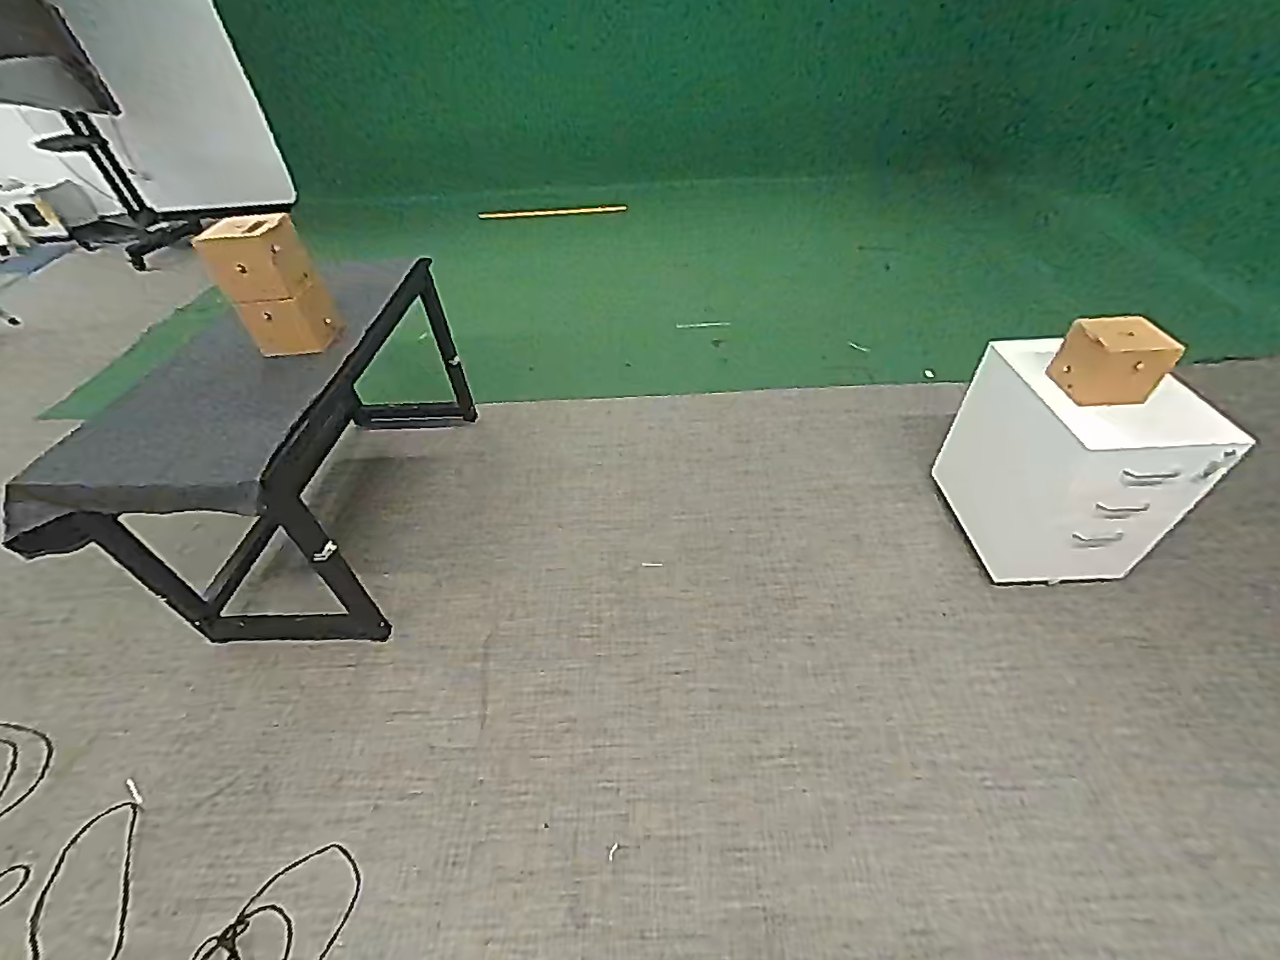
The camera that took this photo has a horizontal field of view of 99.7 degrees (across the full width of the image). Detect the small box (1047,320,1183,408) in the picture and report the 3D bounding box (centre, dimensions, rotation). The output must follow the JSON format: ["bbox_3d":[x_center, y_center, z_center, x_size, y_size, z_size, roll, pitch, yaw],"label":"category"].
[{"bbox_3d":[1.234,-0.304,1.423,0.179,0.176,0.168,-2,43,1],"label":"small box"}]

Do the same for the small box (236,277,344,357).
[{"bbox_3d":[-1.006,-0.470,1.572,0.179,0.176,0.168,-4,44,1],"label":"small box"}]
